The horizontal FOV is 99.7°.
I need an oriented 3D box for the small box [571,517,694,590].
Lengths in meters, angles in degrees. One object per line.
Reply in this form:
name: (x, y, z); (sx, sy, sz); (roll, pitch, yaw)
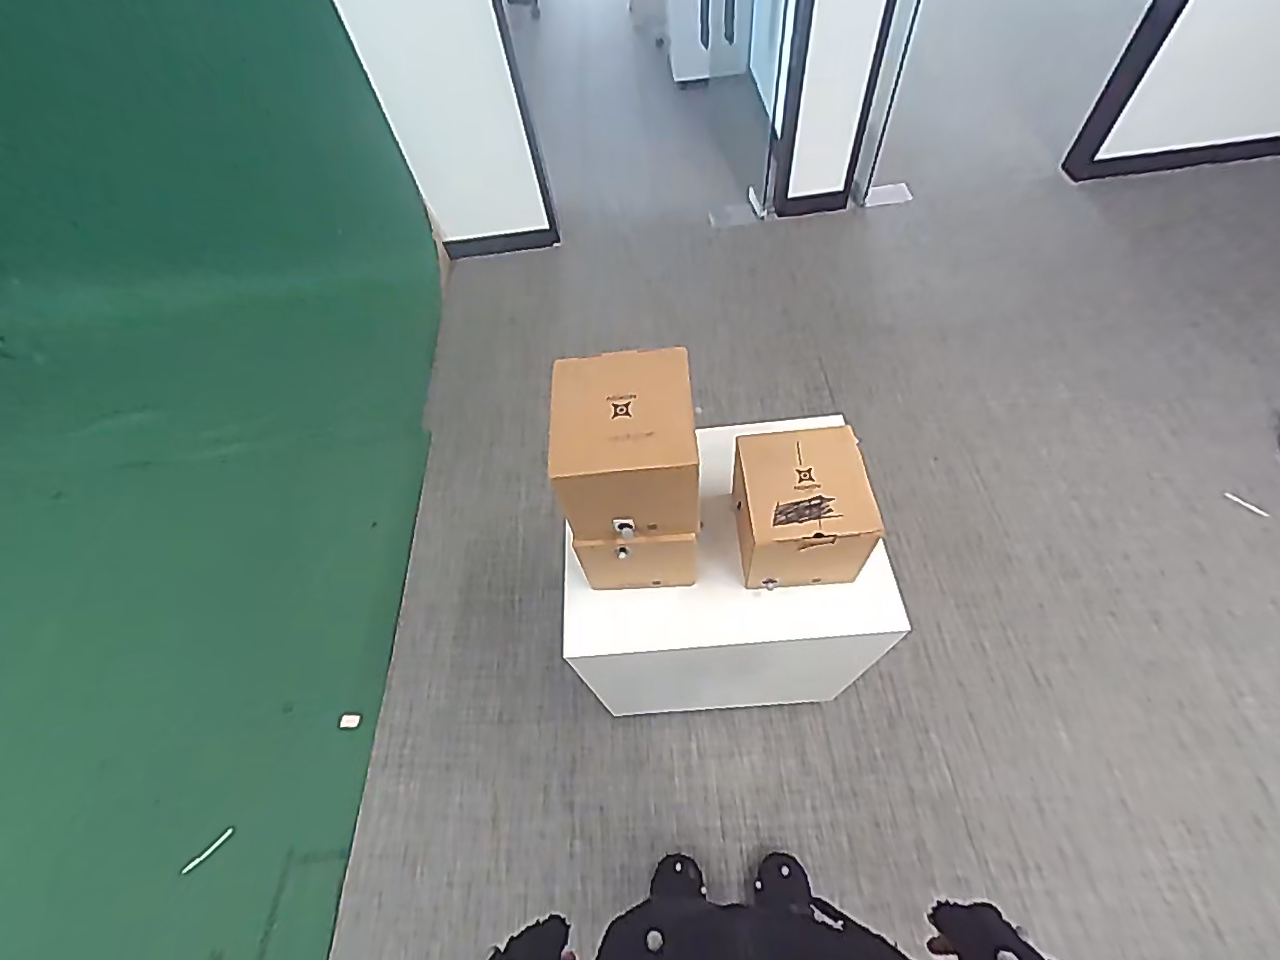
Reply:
small box: (-0.004, 0.054, 0.830); (0.168, 0.176, 0.179); (-4, 56, 5)

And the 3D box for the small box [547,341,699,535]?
small box: (-0.016, -0.048, 0.685); (0.168, 0.176, 0.179); (-5, 59, 3)

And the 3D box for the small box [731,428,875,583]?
small box: (0.229, 0.047, 0.808); (0.168, 0.176, 0.179); (-5, 56, 4)
